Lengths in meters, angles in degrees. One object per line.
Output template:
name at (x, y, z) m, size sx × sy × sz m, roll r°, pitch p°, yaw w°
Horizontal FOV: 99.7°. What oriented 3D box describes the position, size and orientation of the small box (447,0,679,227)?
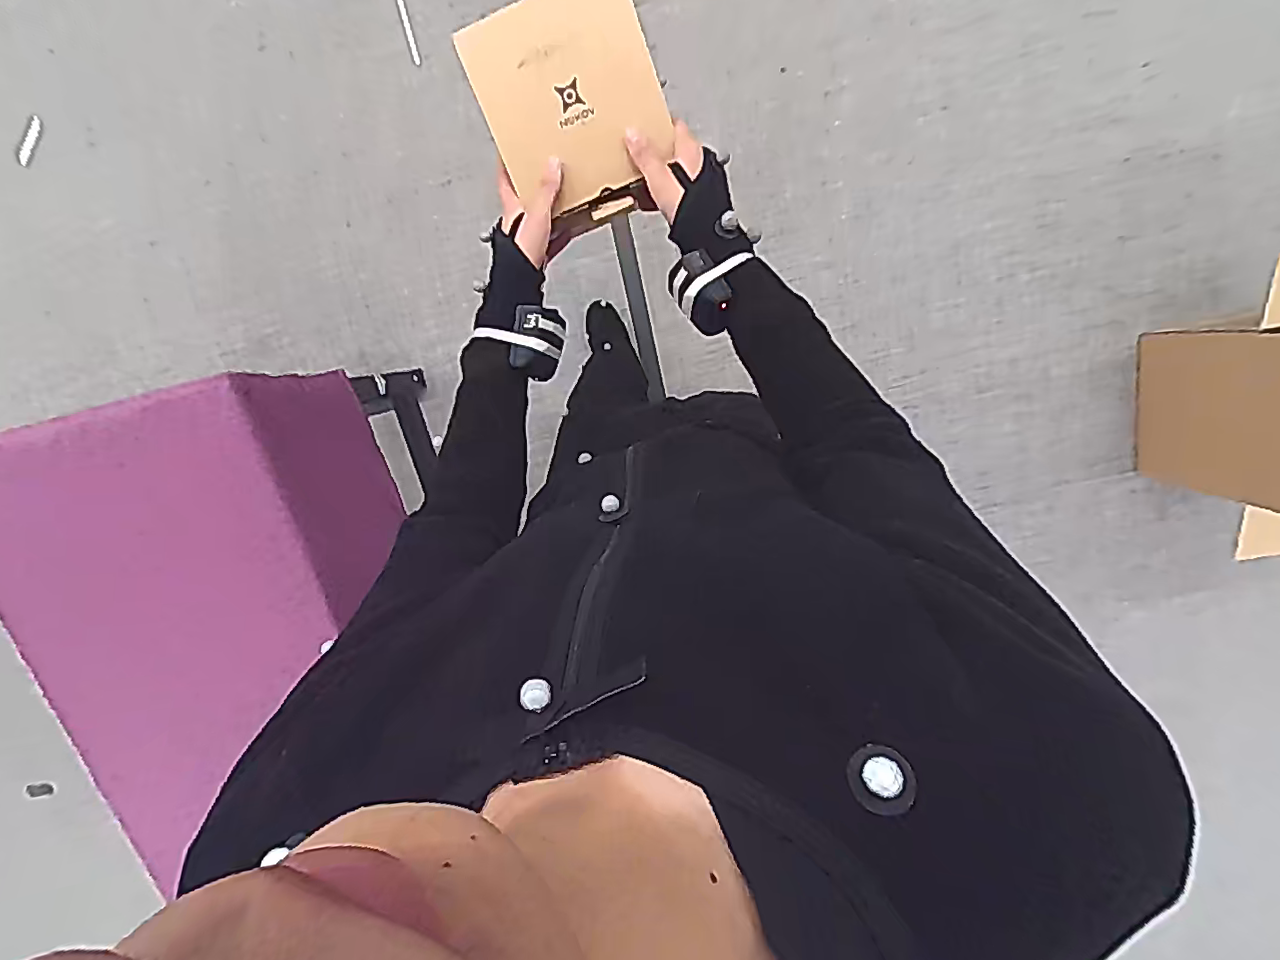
small box at (-0.067, -0.386, 0.572) m, size 0.168 × 0.176 × 0.179 m, roll -21°, pitch 108°, yaw 5°
